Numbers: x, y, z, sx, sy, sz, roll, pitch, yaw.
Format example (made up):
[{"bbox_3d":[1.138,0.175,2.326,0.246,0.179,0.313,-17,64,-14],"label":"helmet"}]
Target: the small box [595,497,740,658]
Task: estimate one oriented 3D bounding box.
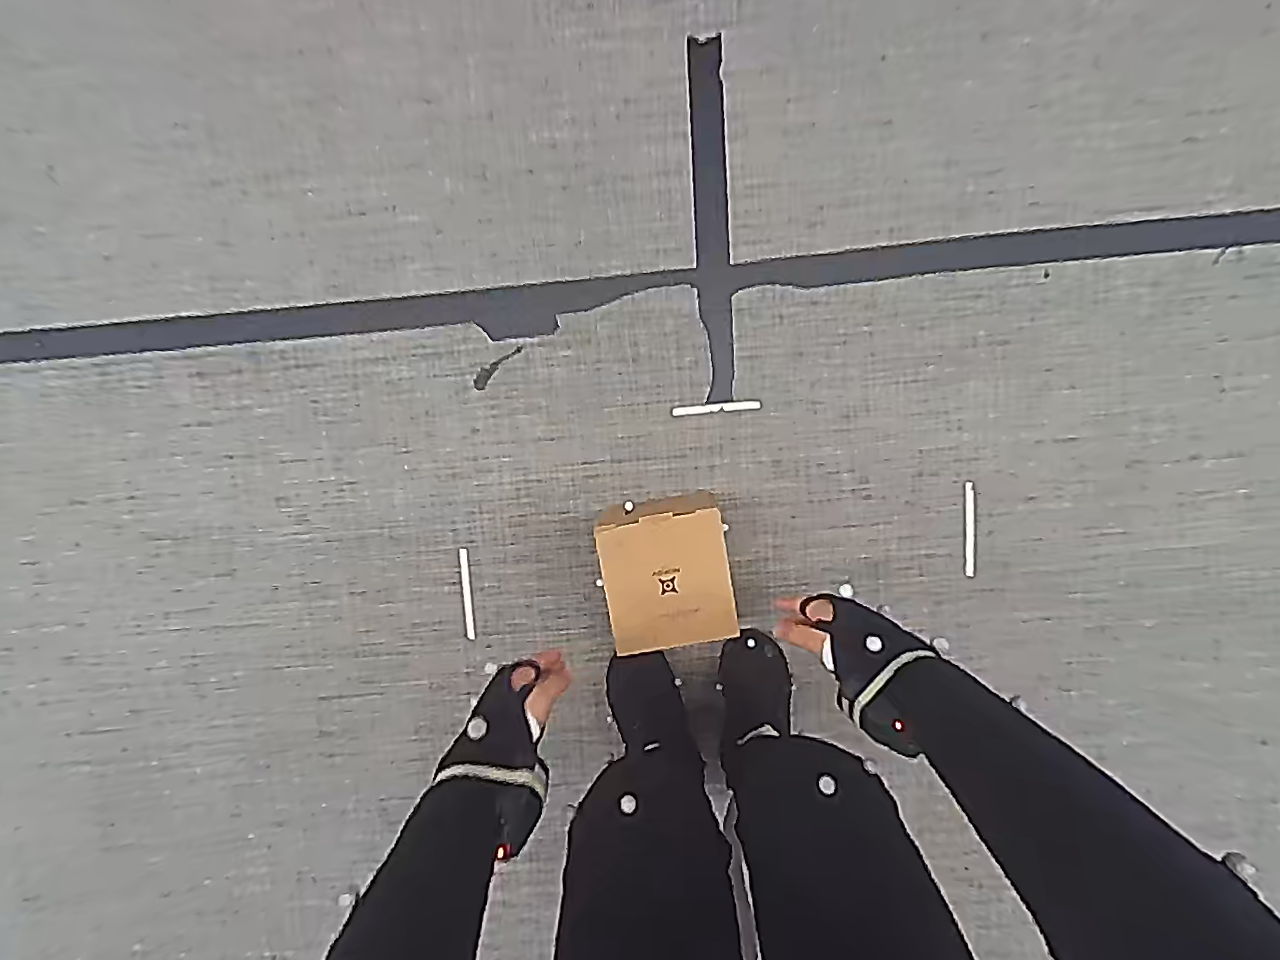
[{"bbox_3d":[0.036,0.126,0.772,0.168,0.176,0.179,-11,97,3],"label":"small box"}]
